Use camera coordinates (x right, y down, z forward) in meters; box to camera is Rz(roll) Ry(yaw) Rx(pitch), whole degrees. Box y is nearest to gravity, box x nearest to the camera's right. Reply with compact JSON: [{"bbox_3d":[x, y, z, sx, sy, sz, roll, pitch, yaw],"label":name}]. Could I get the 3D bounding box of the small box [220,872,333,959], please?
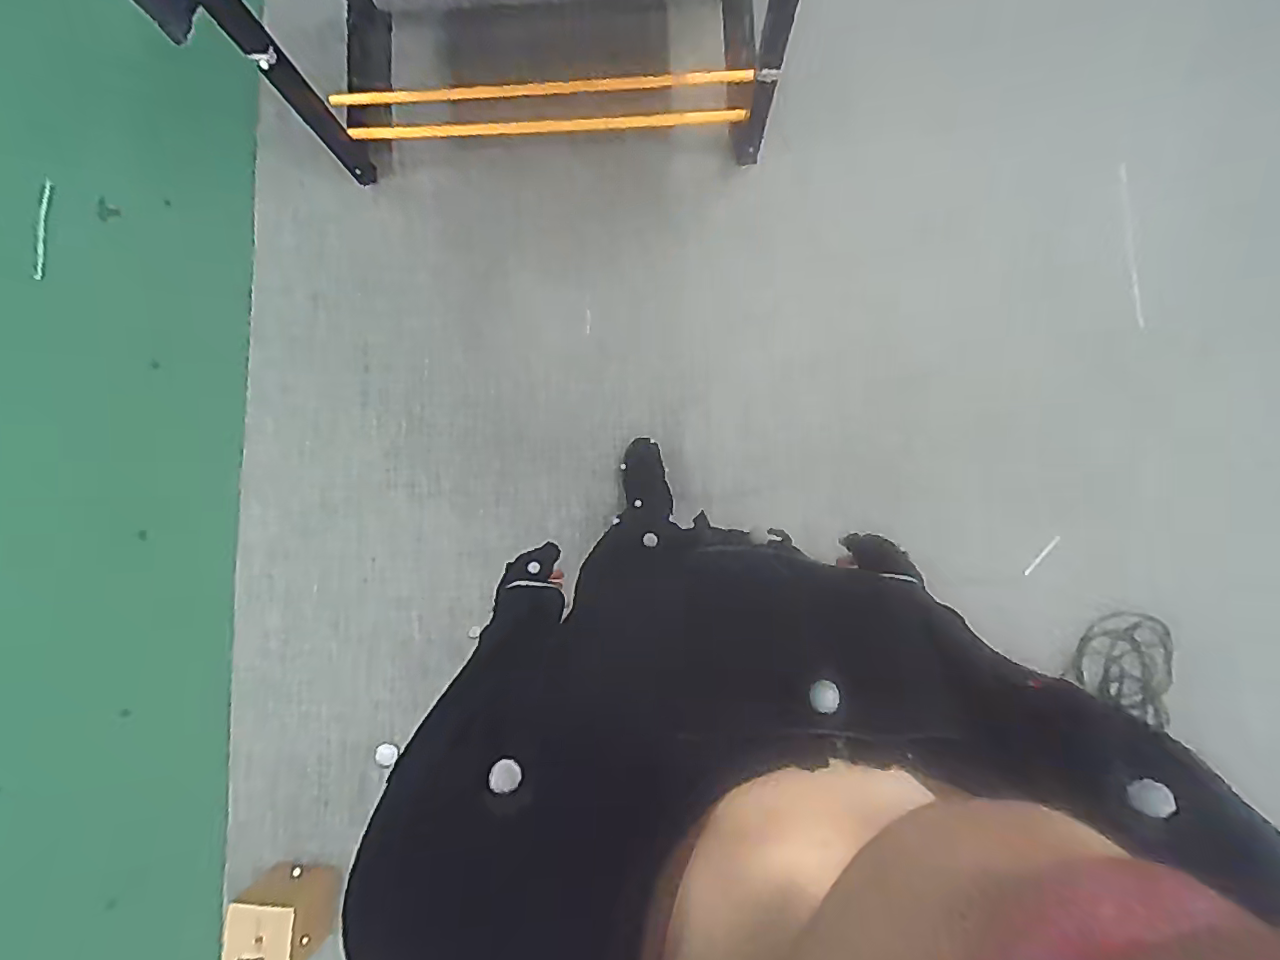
[{"bbox_3d":[-0.888,1.115,1.330,0.168,0.176,0.179,2,83,3],"label":"small box"}]
